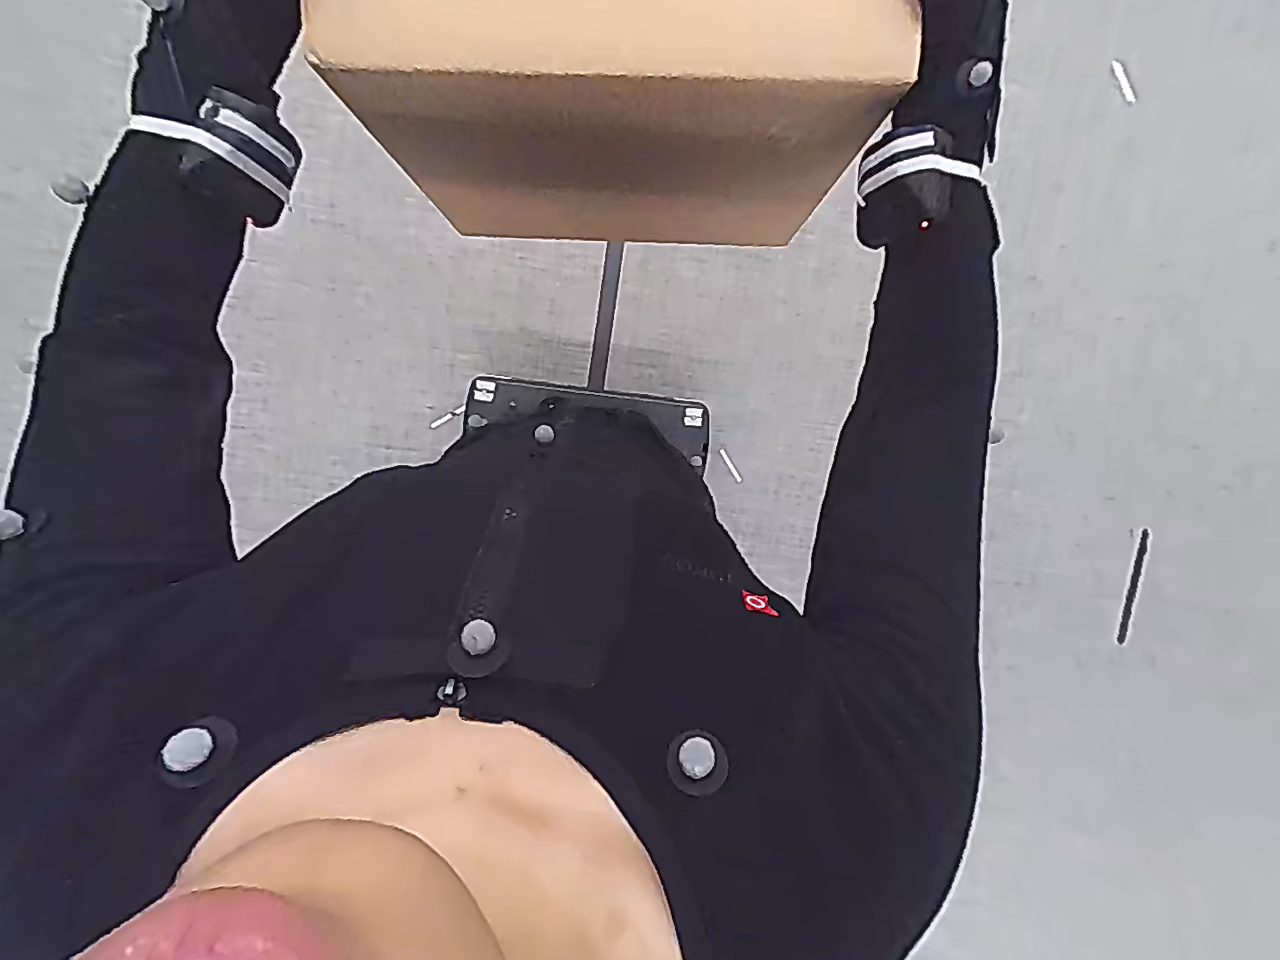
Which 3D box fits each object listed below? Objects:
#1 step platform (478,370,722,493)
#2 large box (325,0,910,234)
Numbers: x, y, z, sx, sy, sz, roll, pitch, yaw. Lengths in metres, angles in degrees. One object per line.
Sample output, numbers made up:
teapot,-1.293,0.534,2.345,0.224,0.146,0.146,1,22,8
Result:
step platform,-0.111,-0.139,1.557,0.684,0.204,0.286,6,98,-4
large box,-0.015,-0.443,0.506,0.408,0.320,0.320,1,95,-1
